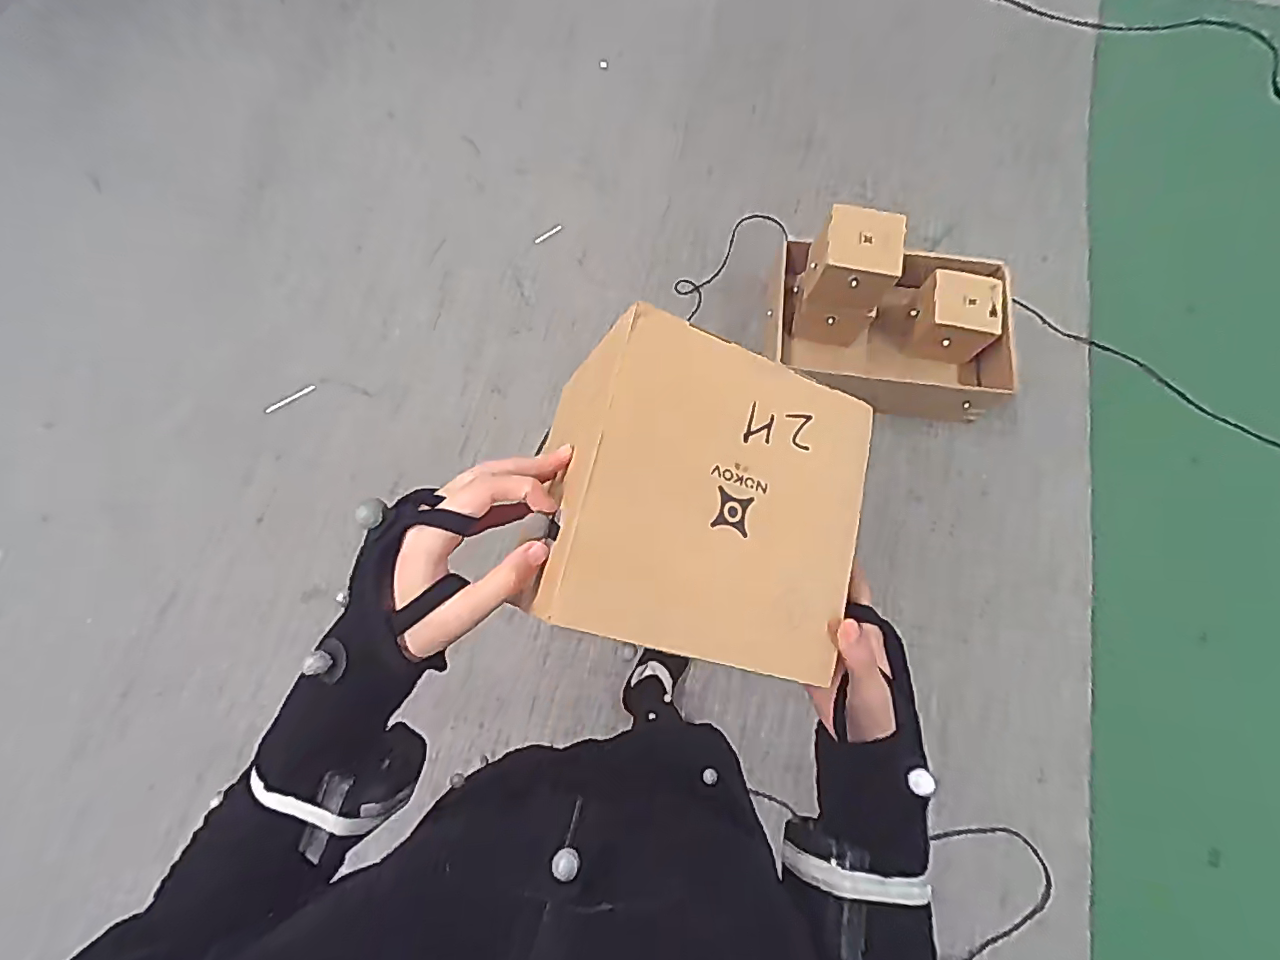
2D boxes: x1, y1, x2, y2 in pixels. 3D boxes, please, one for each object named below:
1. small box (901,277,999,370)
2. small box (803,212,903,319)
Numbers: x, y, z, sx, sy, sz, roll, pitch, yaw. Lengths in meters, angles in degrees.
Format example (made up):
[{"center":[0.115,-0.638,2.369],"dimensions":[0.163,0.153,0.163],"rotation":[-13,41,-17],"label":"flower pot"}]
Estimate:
[{"center":[0.839,-0.421,1.477],"dimensions":[0.179,0.176,0.168],"rotation":[12,75,2],"label":"small box"},{"center":[0.514,-0.517,1.324],"dimensions":[0.179,0.176,0.168],"rotation":[11,76,0],"label":"small box"}]
